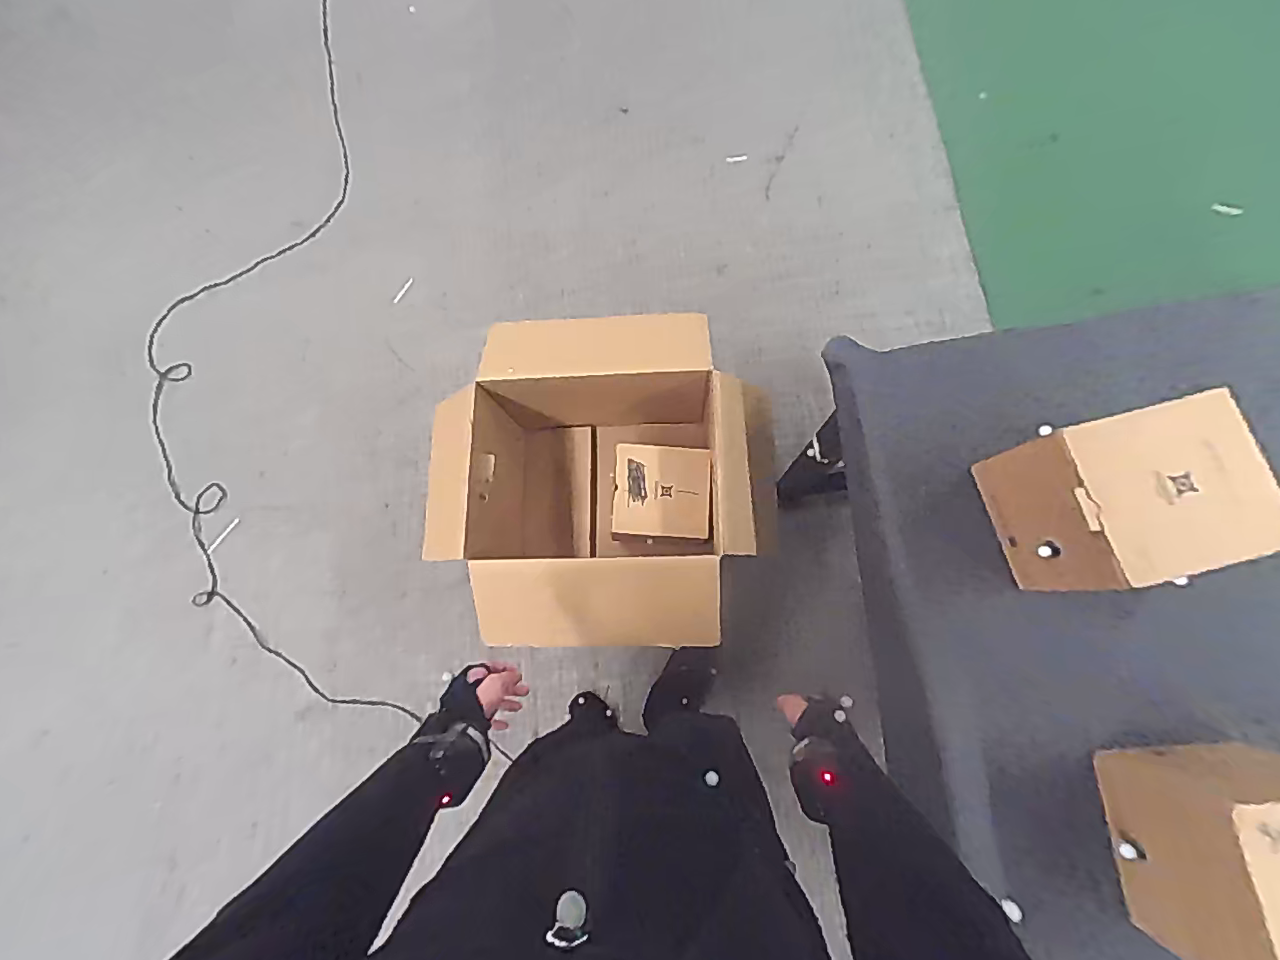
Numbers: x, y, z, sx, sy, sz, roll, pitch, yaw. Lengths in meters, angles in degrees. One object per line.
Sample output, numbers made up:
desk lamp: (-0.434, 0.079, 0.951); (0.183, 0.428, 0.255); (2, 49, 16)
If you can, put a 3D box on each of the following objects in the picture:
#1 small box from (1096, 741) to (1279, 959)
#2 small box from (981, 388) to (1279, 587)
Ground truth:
small box: (0.600, 0.373, 0.522); (0.168, 0.176, 0.179); (-6, 78, 3)
small box: (0.523, 0.021, 0.605); (0.179, 0.176, 0.168); (-15, 79, -1)
